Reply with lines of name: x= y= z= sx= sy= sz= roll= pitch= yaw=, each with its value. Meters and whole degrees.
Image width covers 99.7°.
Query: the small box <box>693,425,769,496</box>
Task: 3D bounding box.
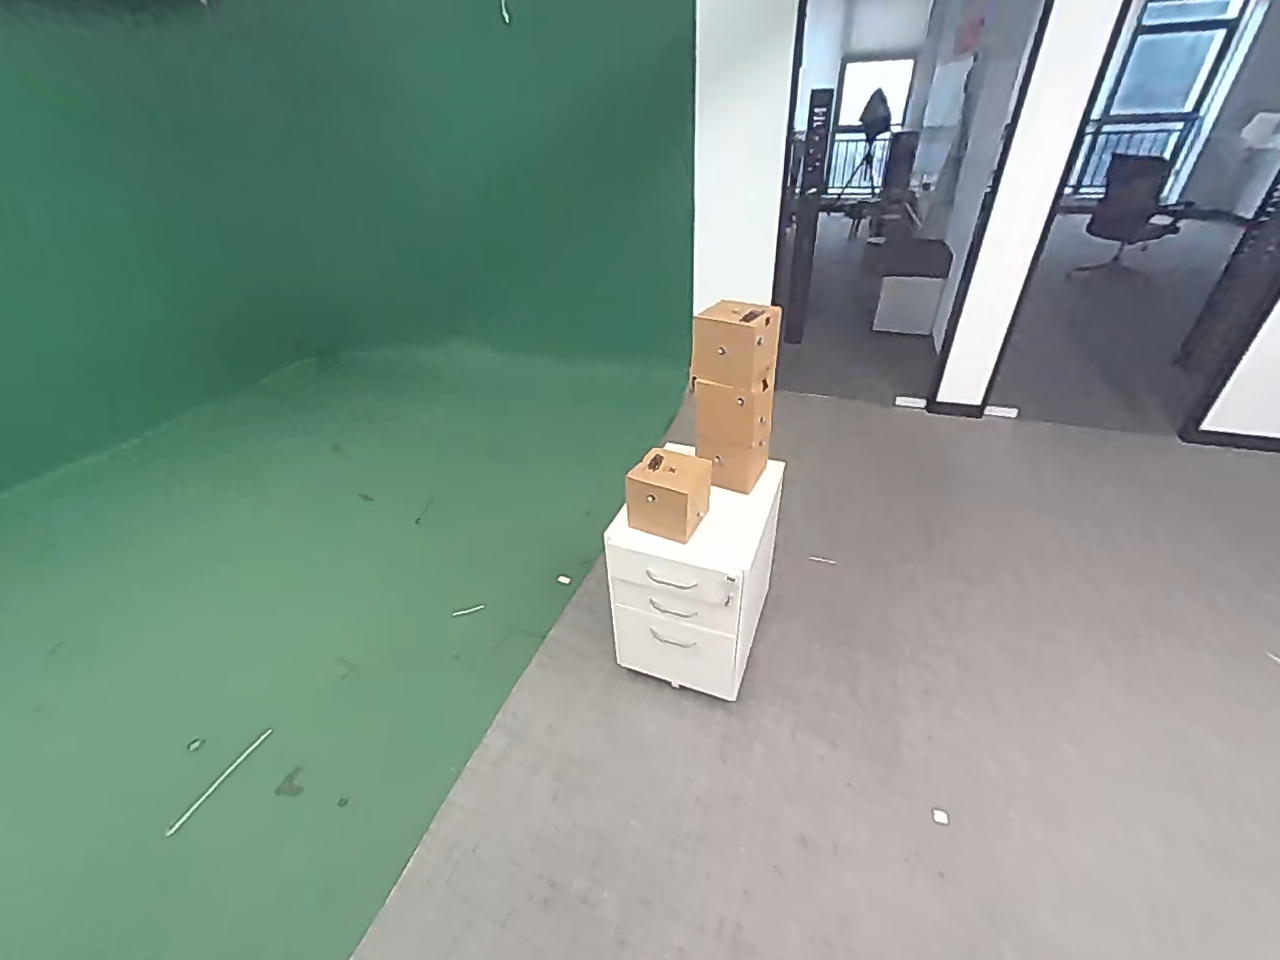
small box: x=0.270 y=-0.071 z=1.613 sx=0.179 sy=0.176 sz=0.168 roll=15 pitch=39 yaw=25

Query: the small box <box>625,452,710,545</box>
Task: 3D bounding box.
small box: x=0.074 y=0.050 z=1.447 sx=0.179 sy=0.176 sz=0.168 roll=16 pitch=38 yaw=23

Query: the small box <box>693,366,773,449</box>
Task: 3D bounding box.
small box: x=0.257 y=-0.204 z=1.520 sx=0.179 sy=0.176 sz=0.168 roll=15 pitch=39 yaw=24
